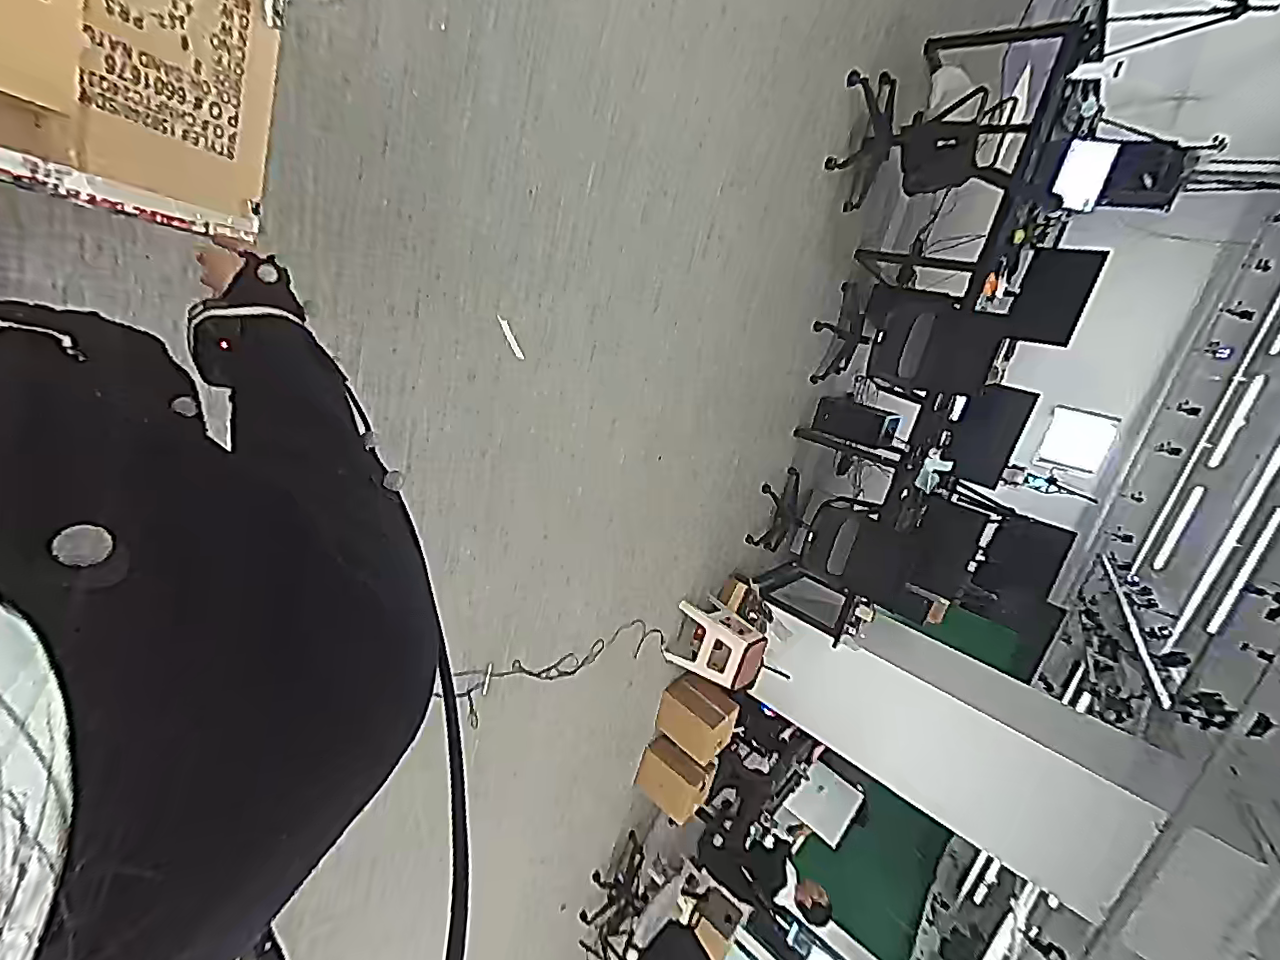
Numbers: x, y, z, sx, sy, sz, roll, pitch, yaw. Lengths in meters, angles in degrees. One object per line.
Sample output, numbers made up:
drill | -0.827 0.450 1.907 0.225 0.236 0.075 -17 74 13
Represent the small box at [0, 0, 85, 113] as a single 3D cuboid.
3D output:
small box | -0.573 -0.420 0.424 0.179 0.176 0.168 1 113 -54
